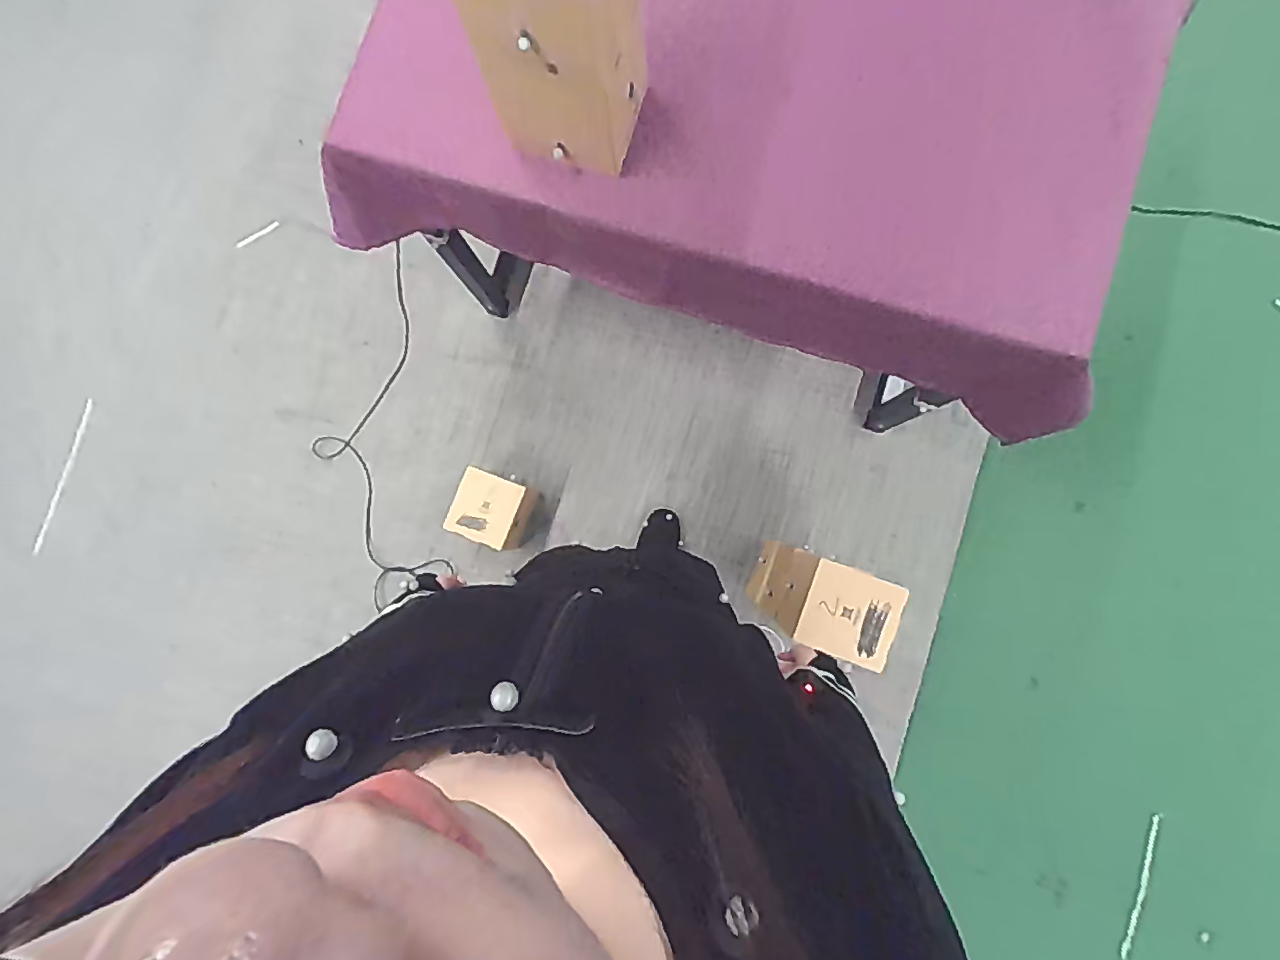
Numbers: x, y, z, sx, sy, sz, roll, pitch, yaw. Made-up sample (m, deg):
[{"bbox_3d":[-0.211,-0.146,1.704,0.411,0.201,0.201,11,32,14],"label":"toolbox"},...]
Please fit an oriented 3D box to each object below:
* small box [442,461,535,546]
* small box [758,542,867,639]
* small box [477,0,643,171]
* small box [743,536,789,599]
[{"bbox_3d":[-0.397,0.067,1.456,0.168,0.176,0.179,21,86,3],"label":"small box"},{"bbox_3d":[0.389,0.247,1.252,0.179,0.176,0.168,19,88,2],"label":"small box"},{"bbox_3d":[-0.098,-0.574,0.761,0.179,0.176,0.168,16,86,2],"label":"small box"},{"bbox_3d":[0.386,0.254,1.415,0.179,0.176,0.168,22,87,3],"label":"small box"}]
